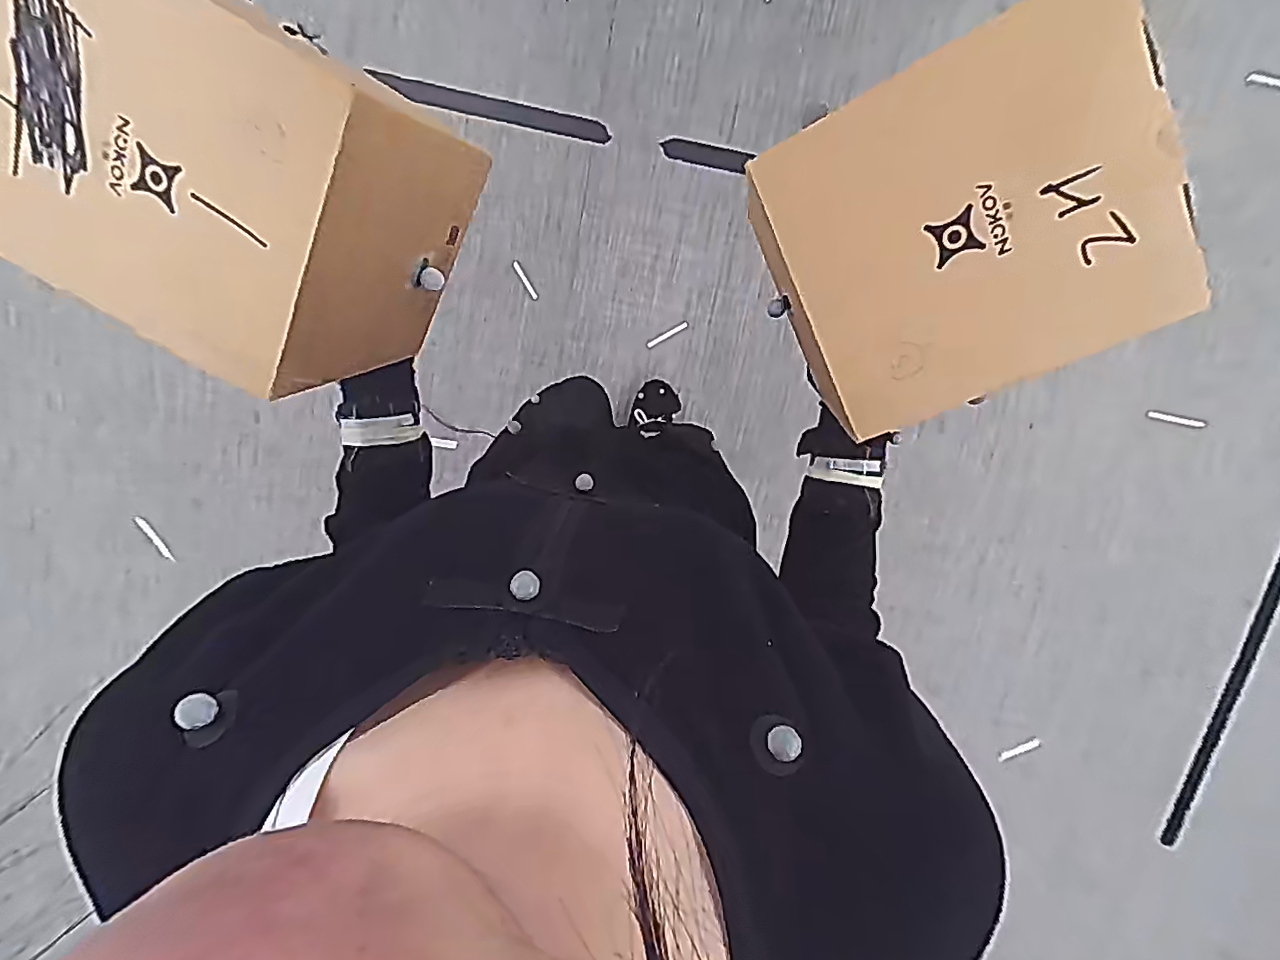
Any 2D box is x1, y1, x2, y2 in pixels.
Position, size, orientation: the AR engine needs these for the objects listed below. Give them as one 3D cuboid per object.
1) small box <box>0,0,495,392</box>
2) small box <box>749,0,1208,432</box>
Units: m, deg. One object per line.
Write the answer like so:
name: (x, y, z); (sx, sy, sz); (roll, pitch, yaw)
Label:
small box: (-0.220, -0.181, 0.331); (0.179, 0.176, 0.168); (30, 112, -6)
small box: (0.183, -0.151, 0.349); (0.179, 0.176, 0.168); (-23, 102, 17)
